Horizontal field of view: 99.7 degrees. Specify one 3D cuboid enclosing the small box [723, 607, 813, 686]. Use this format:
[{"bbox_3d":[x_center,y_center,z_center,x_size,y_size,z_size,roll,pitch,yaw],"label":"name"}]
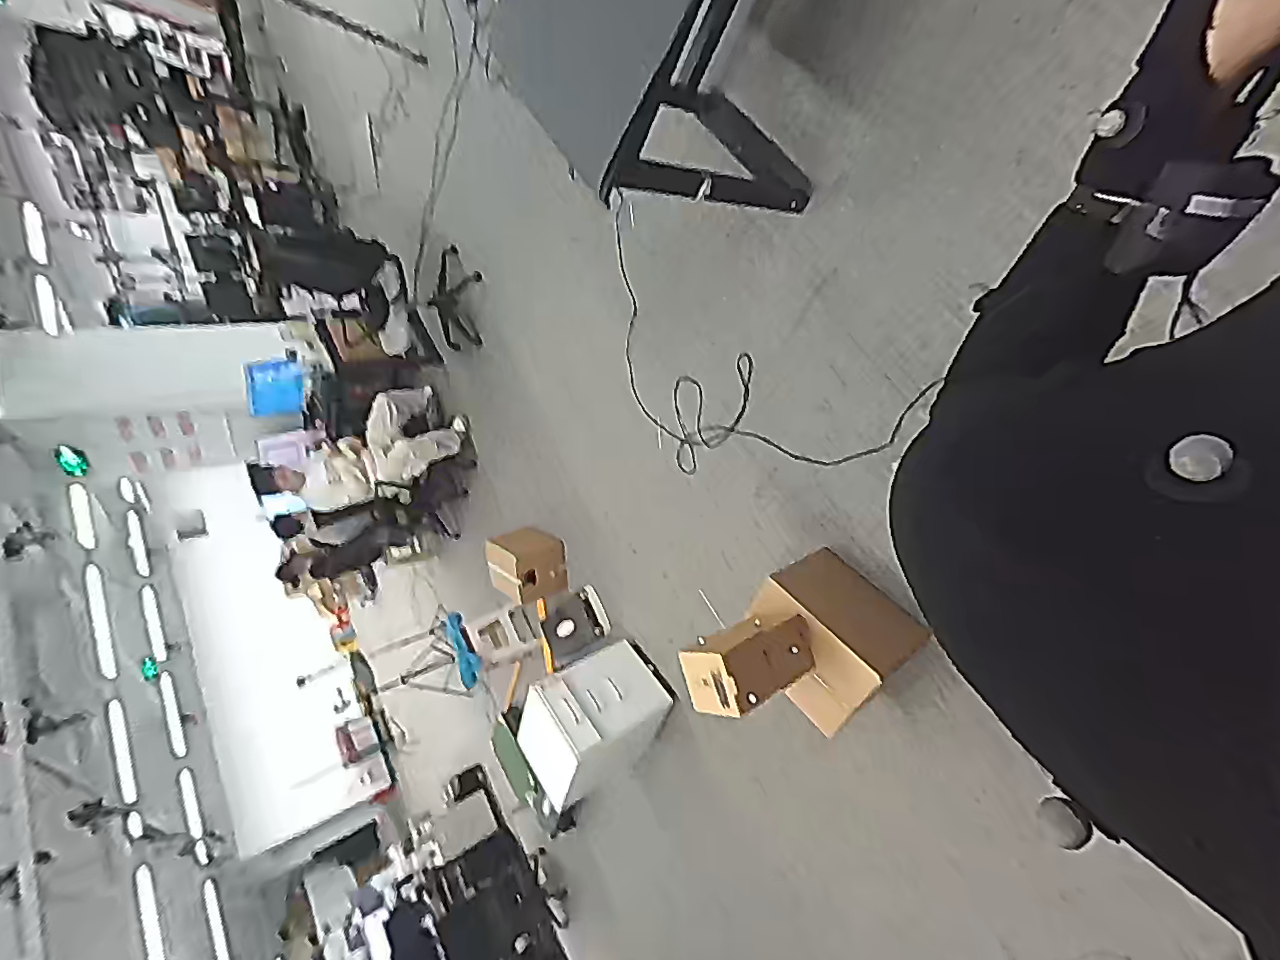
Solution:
[{"bbox_3d":[0.375,0.474,1.558,0.179,0.176,0.168,-21,85,50],"label":"small box"}]
